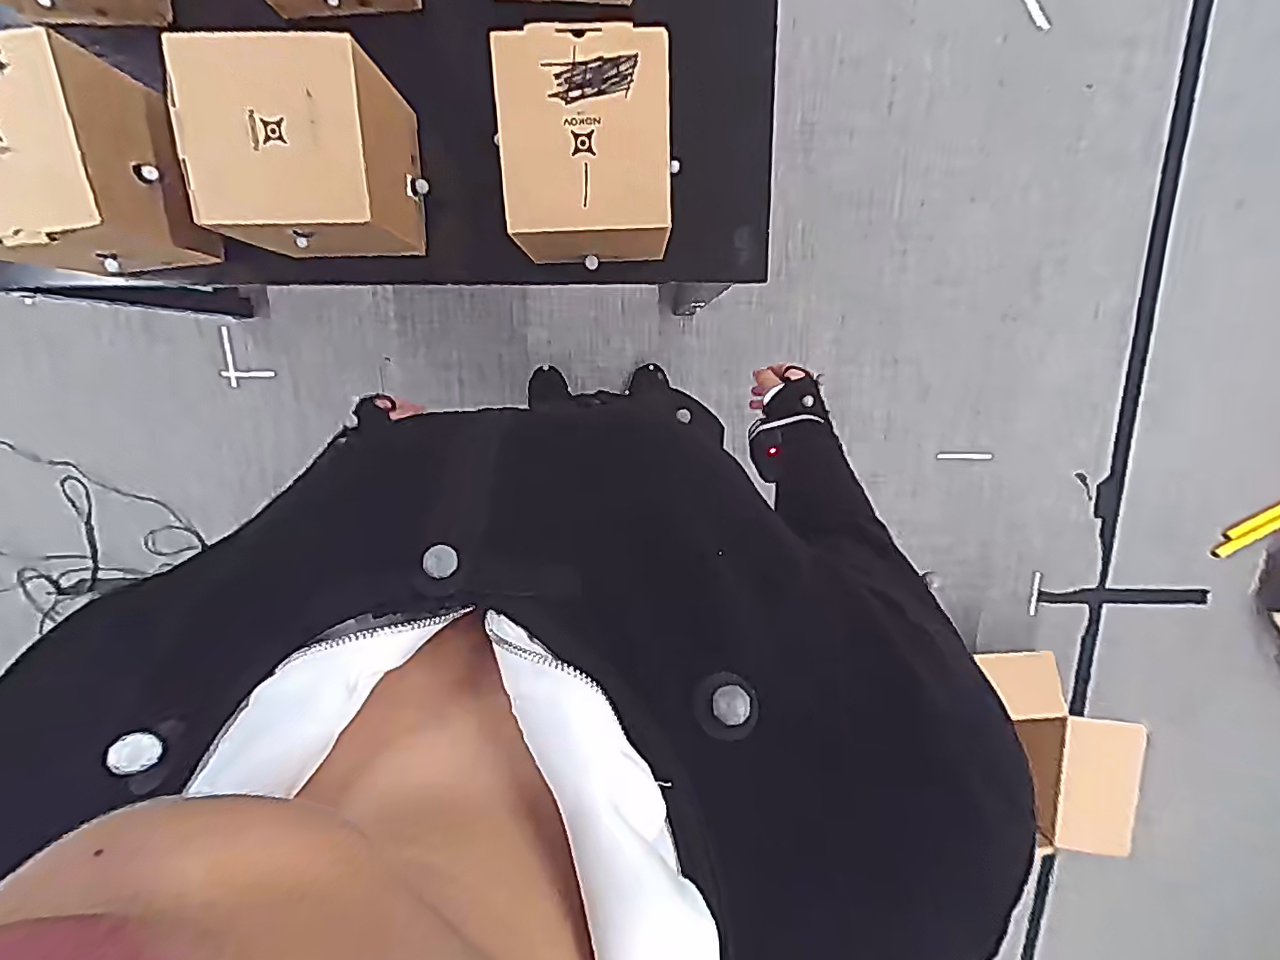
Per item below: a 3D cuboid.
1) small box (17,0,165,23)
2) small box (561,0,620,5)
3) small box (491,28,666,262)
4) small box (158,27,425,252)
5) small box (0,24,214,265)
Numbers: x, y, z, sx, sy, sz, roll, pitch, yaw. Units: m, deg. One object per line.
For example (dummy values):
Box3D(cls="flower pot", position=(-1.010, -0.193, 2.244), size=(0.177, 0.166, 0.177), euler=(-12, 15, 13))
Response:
Box3D(cls="small box", position=(-0.627, -0.605, 0.533), size=(0.168, 0.176, 0.179), euler=(1, 102, -2))
Box3D(cls="small box", position=(-0.091, -0.633, 0.540), size=(0.168, 0.176, 0.179), euler=(2, 102, -1))
Box3D(cls="small box", position=(-0.060, -0.351, 0.599), size=(0.168, 0.176, 0.179), euler=(-2, 102, -1))
Box3D(cls="small box", position=(-0.359, -0.353, 0.593), size=(0.179, 0.176, 0.168), euler=(-2, 102, -2))
Box3D(cls="small box", position=(-0.616, -0.339, 0.587), size=(0.168, 0.176, 0.179), euler=(-6, 102, 0))
